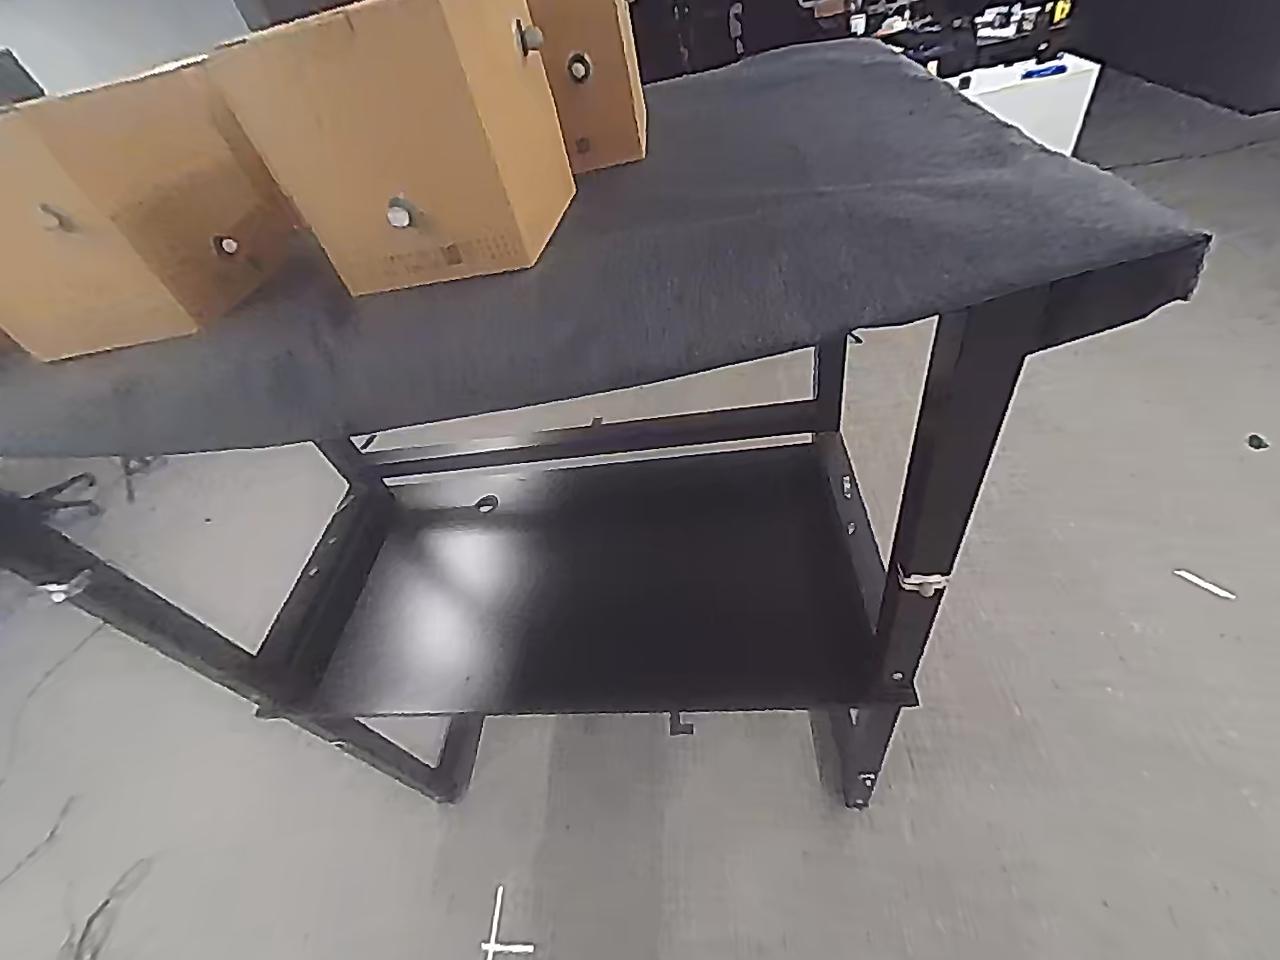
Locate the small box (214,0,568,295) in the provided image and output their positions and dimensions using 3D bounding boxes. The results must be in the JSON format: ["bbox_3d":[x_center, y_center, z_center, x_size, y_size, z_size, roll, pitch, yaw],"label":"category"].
[{"bbox_3d":[-0.168,-0.273,0.438,0.168,0.176,0.179,-4,45,13],"label":"small box"}]

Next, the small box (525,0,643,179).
[{"bbox_3d":[-0.091,-0.435,0.577,0.168,0.176,0.179,-6,46,8],"label":"small box"}]

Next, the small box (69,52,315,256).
[{"bbox_3d":[-0.483,-0.395,0.650,0.179,0.176,0.168,-5,46,11],"label":"small box"}]
